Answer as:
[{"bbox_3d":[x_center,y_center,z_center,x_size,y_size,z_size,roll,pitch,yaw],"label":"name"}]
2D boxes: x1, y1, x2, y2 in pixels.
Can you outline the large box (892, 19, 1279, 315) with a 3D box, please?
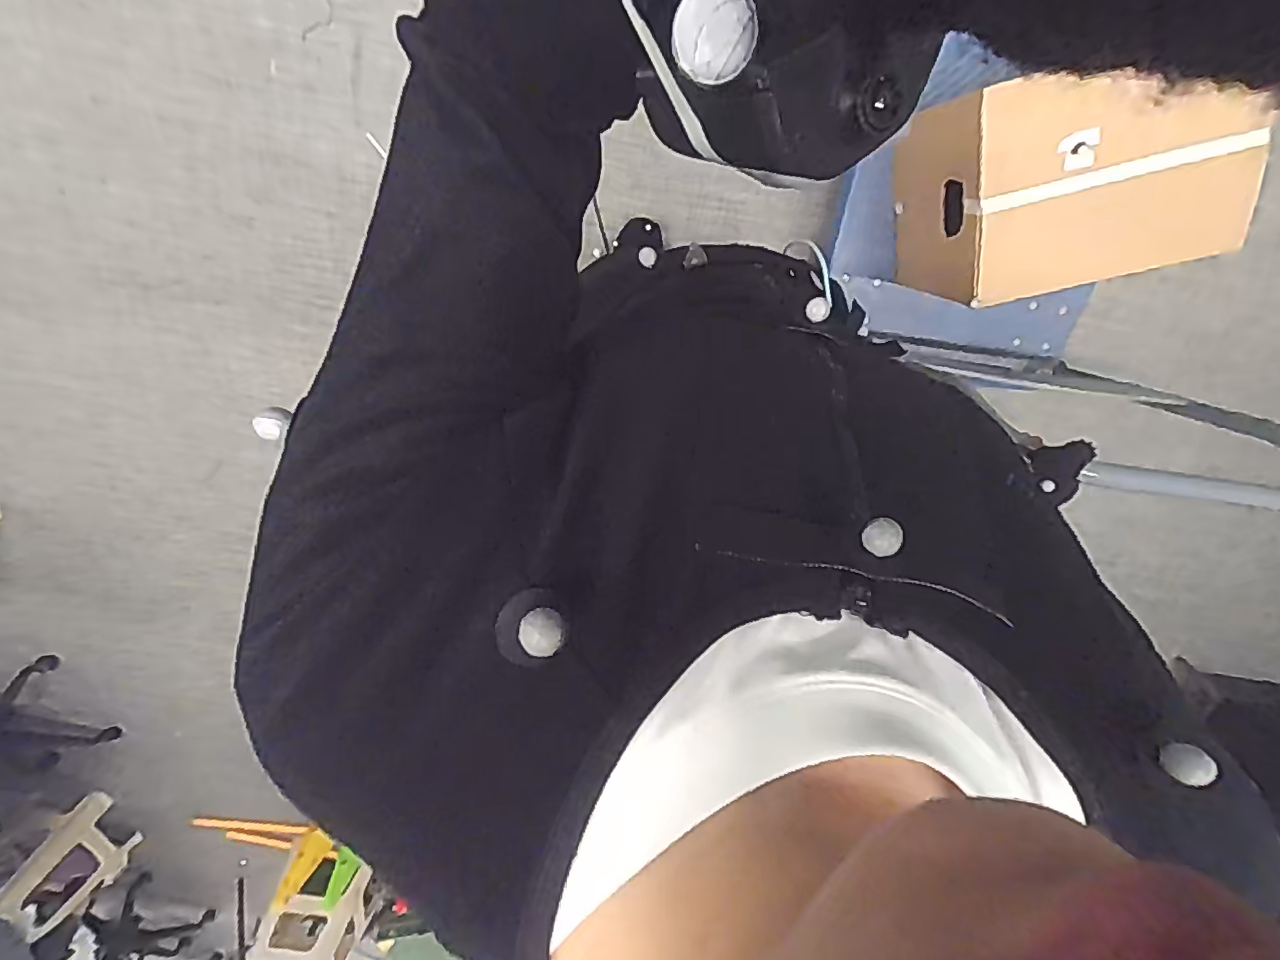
[{"bbox_3d":[0.707,-0.517,0.948,0.408,0.320,0.320,-11,115,7],"label":"large box"}]
